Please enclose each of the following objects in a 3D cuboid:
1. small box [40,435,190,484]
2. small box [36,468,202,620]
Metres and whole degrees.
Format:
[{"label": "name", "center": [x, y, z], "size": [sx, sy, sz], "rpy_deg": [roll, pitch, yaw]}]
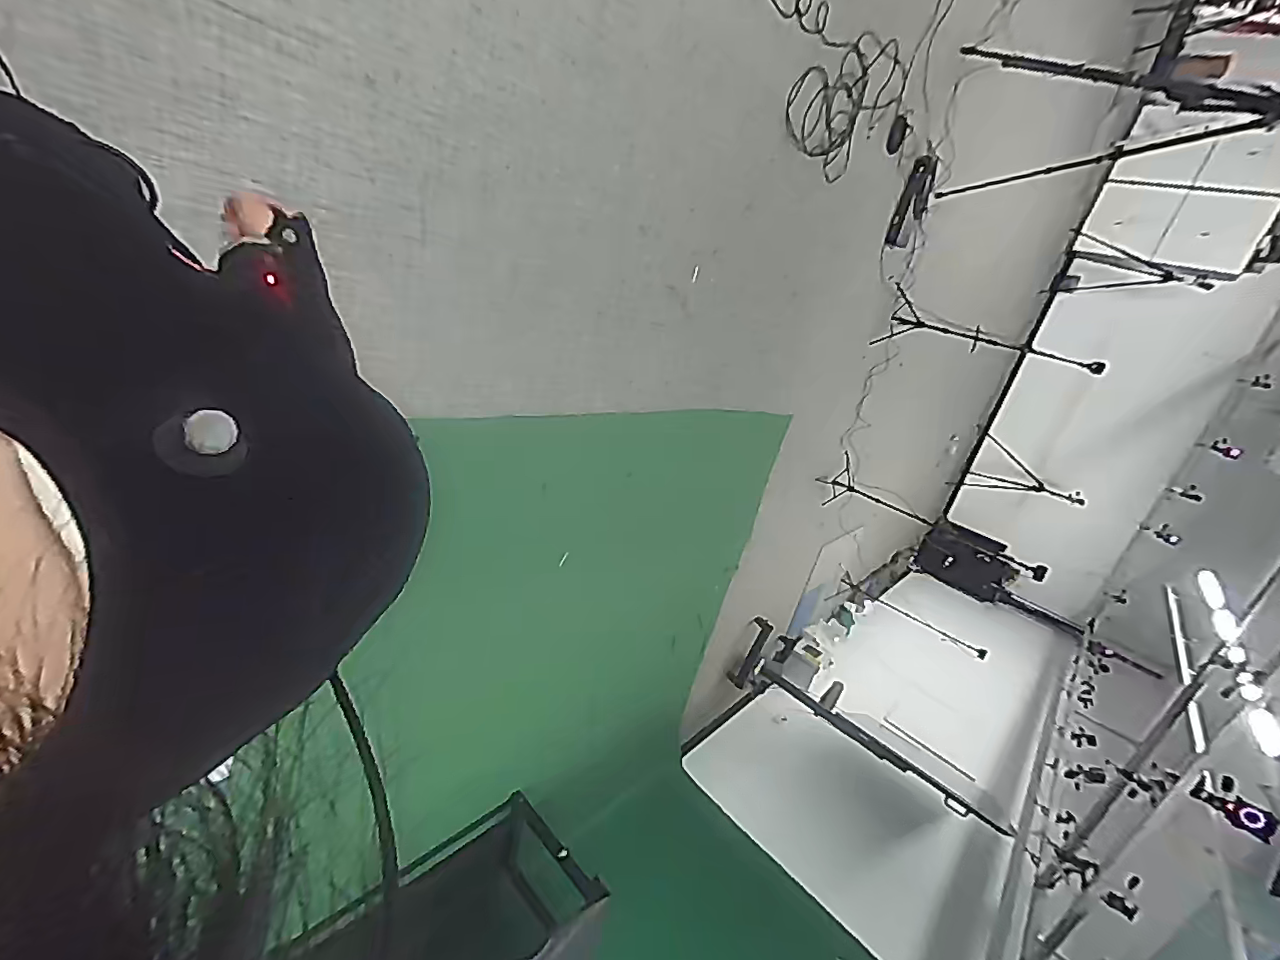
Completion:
[{"label": "small box", "center": [-0.931, 0.024, 0.963], "size": [0.179, 0.176, 0.168], "rpy_deg": [-5, 117, -47]}, {"label": "small box", "center": [-0.822, 0.090, 0.857], "size": [0.179, 0.176, 0.168], "rpy_deg": [-6, 119, -48]}]
